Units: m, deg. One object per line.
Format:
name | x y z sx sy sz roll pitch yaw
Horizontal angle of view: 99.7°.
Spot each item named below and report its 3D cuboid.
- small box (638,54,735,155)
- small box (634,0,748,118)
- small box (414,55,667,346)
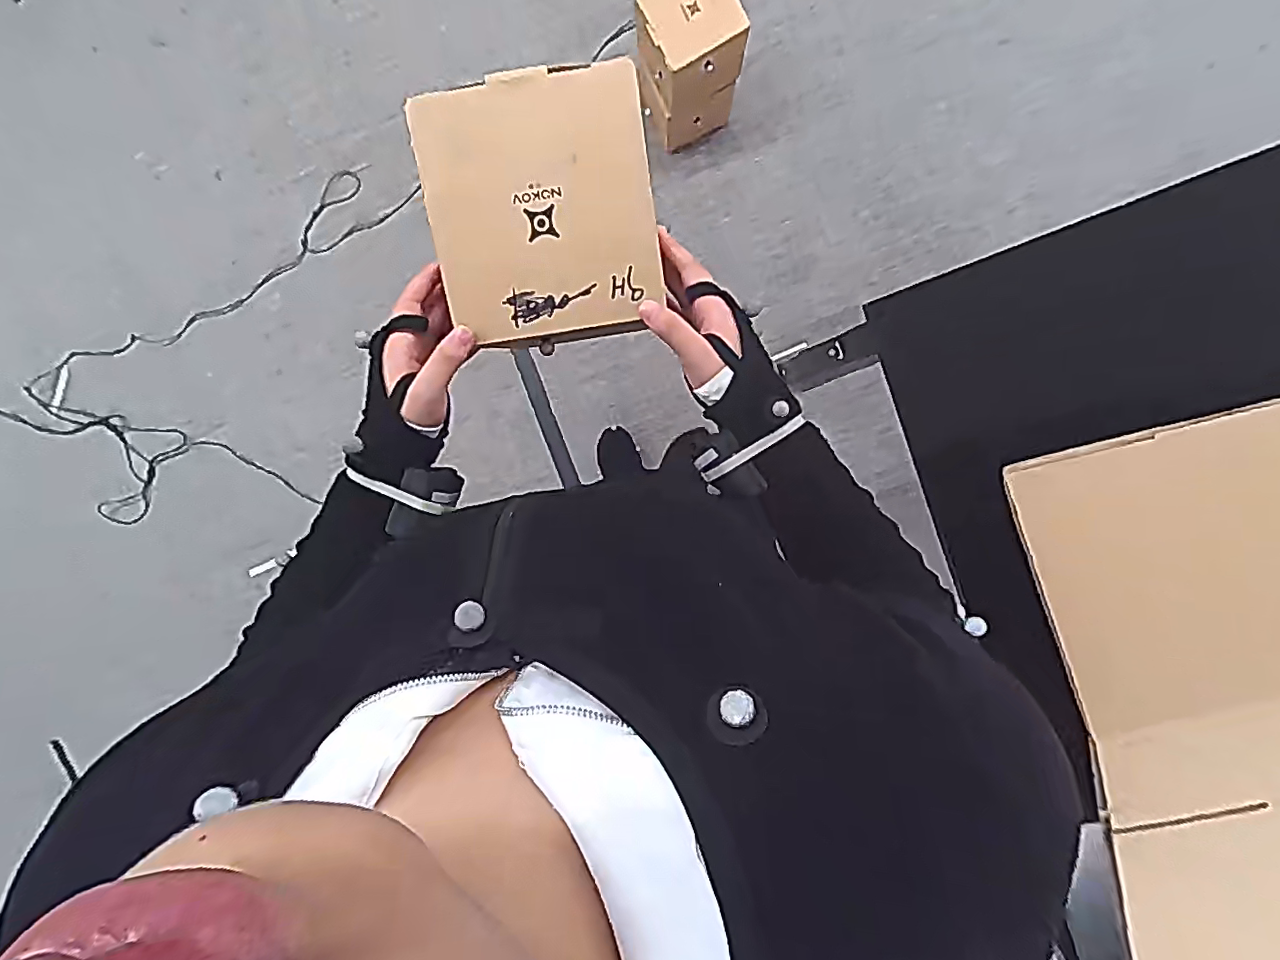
small box | 0.109 -0.929 1.298 0.179 0.176 0.168 -24 94 6
small box | 0.105 -0.915 1.136 0.179 0.176 0.168 -28 95 5
small box | -0.070 -0.220 0.475 0.168 0.176 0.179 -8 102 3
